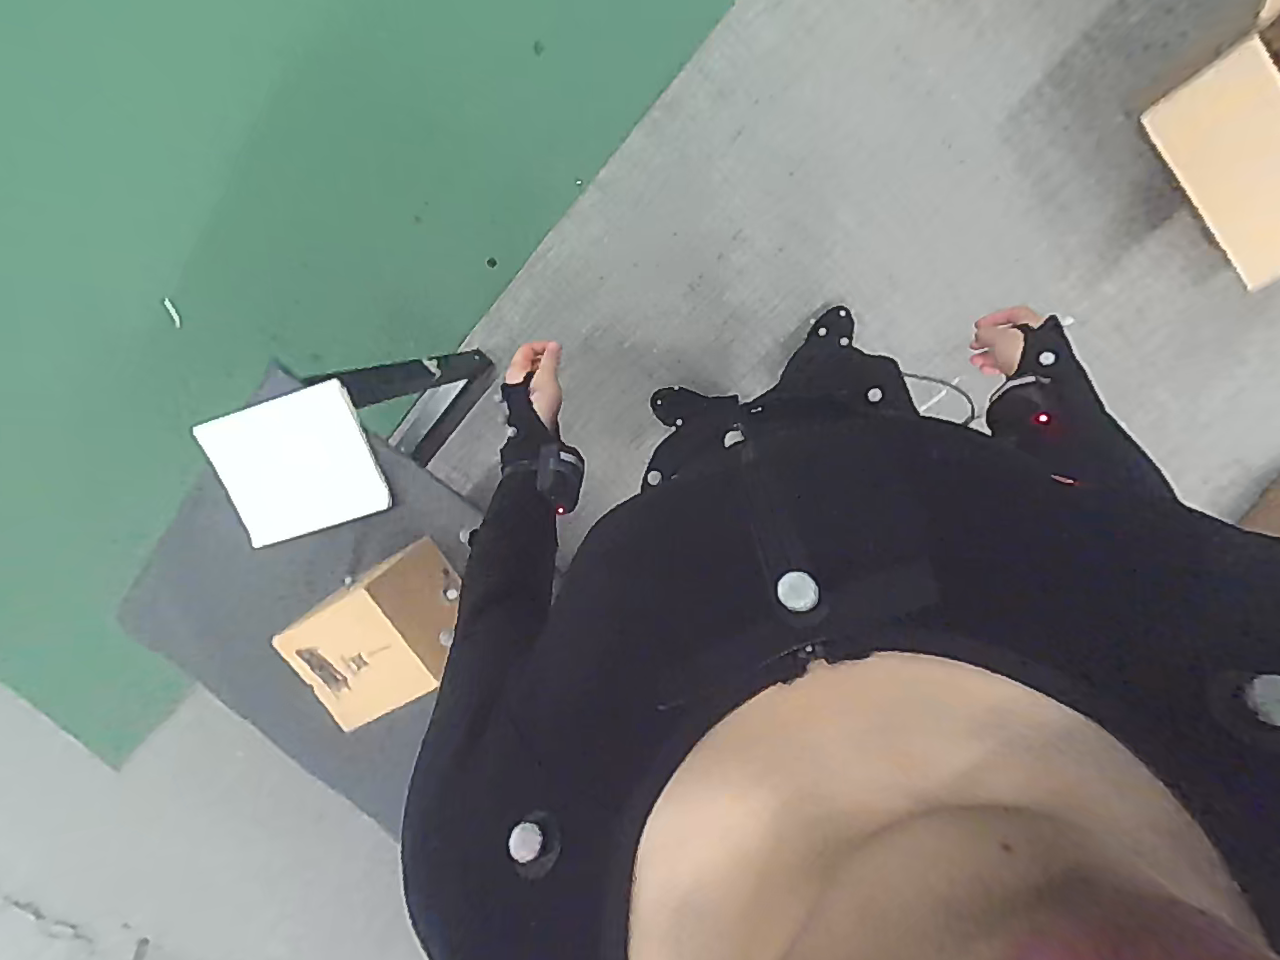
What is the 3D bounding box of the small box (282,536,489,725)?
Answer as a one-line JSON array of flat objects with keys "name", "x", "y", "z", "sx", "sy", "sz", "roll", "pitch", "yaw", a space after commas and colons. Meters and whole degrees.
[{"name": "small box", "x": -0.354, "y": 0.210, "z": 0.787, "sx": 0.179, "sy": 0.176, "sz": 0.168, "roll": -30, "pitch": 102, "yaw": 15}]
